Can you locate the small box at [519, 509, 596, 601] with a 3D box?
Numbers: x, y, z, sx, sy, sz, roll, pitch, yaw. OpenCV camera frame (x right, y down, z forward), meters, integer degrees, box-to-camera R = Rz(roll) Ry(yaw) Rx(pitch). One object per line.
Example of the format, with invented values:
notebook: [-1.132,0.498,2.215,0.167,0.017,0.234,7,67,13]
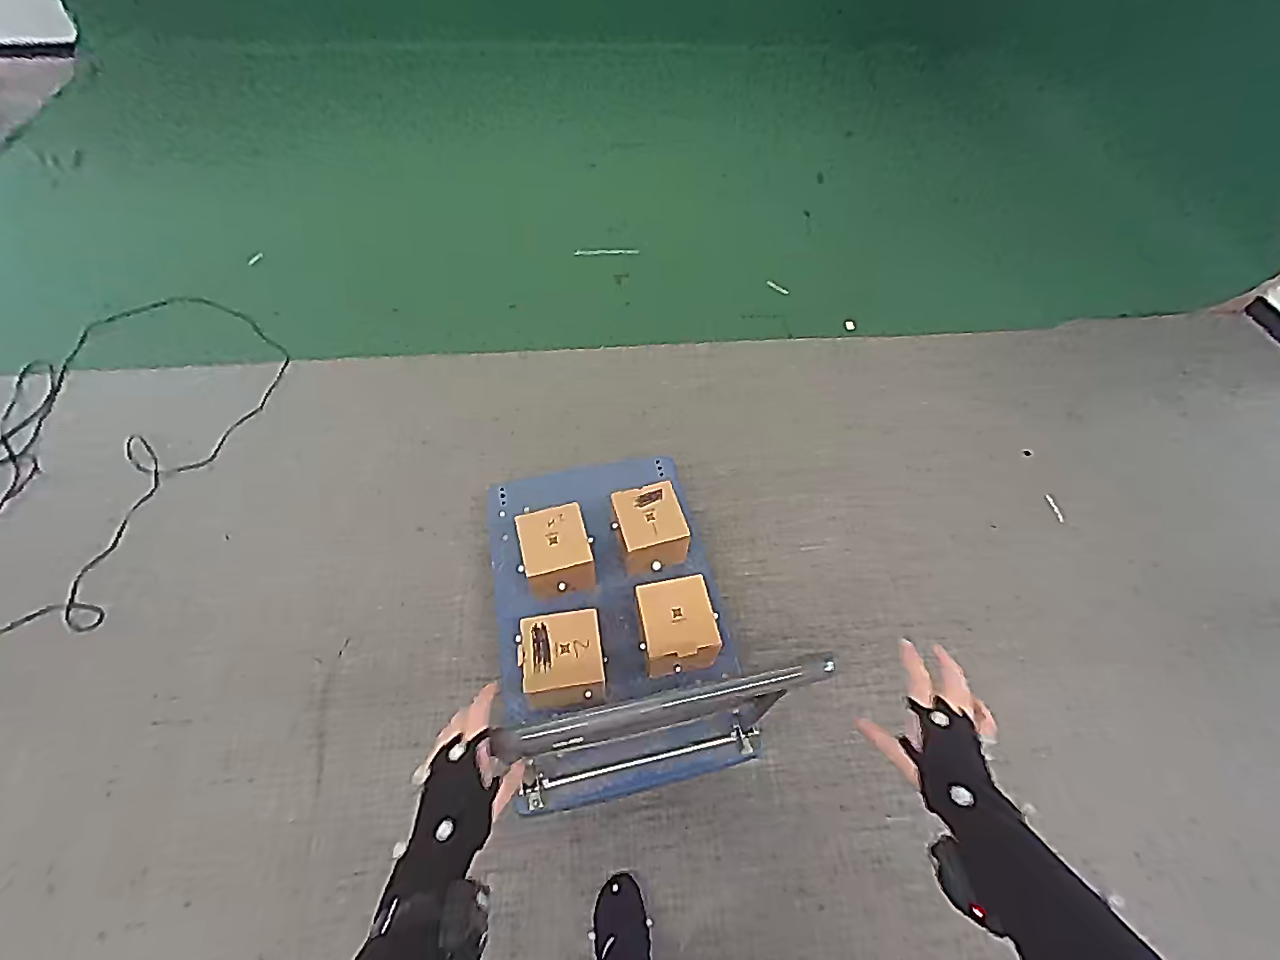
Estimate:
small box: [-0.214,0.205,1.426,0.168,0.176,0.179,-13,57,-11]

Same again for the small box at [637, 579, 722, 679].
small box: [0.088,0.367,1.326,0.168,0.176,0.179,-9,57,-8]

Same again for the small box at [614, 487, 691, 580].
small box: [0.027,0.147,1.471,0.168,0.176,0.179,-13,58,-9]
